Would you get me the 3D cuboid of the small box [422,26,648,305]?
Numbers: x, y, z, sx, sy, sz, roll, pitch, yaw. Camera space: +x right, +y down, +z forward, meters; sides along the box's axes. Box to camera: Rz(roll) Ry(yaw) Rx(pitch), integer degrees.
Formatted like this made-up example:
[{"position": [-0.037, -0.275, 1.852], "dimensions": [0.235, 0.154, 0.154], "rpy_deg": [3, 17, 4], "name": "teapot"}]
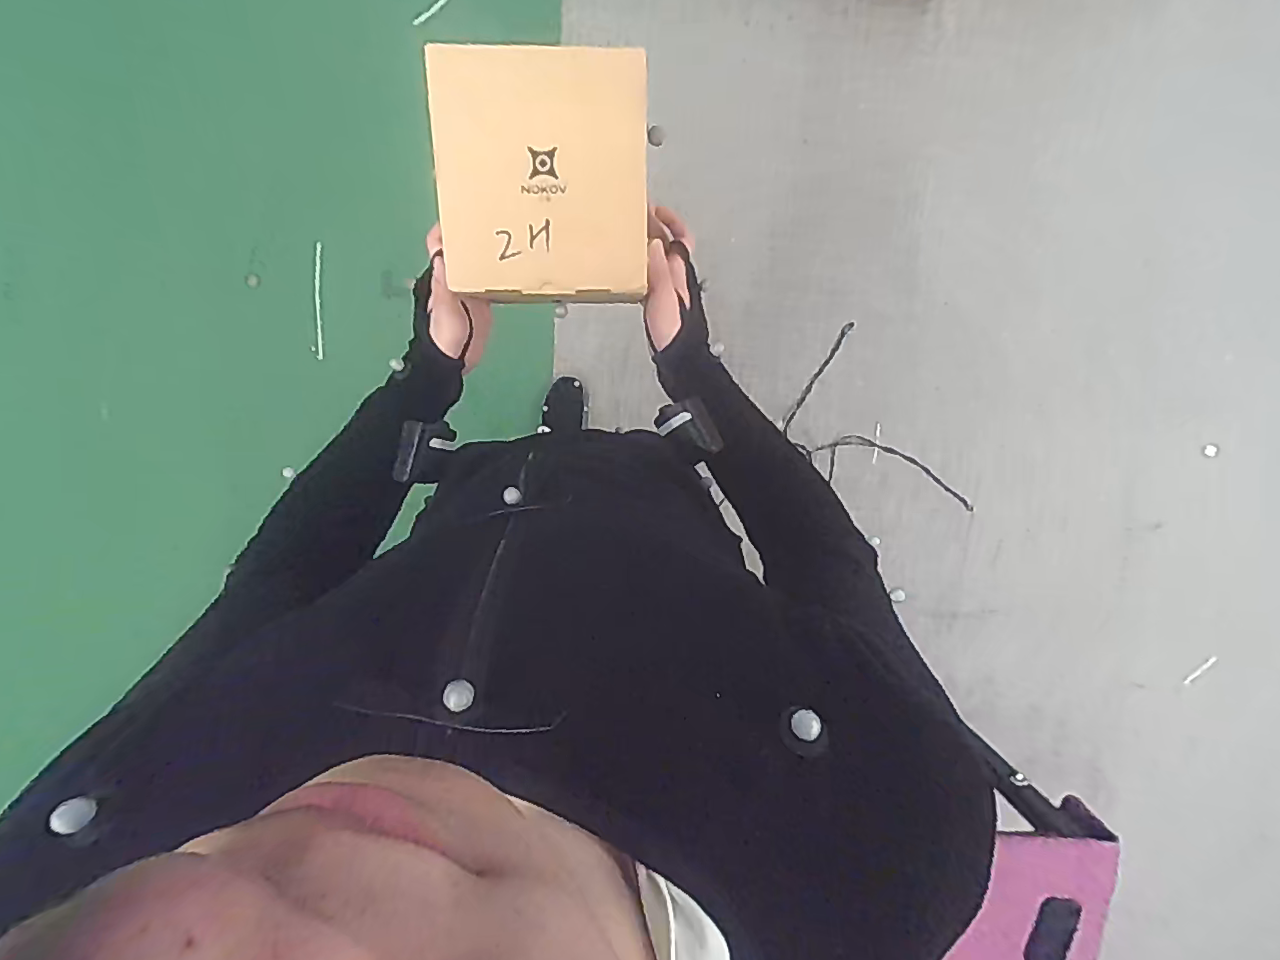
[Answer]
[{"position": [-0.082, -0.258, 0.487], "dimensions": [0.168, 0.176, 0.179], "rpy_deg": [0, 104, -3], "name": "small box"}]
